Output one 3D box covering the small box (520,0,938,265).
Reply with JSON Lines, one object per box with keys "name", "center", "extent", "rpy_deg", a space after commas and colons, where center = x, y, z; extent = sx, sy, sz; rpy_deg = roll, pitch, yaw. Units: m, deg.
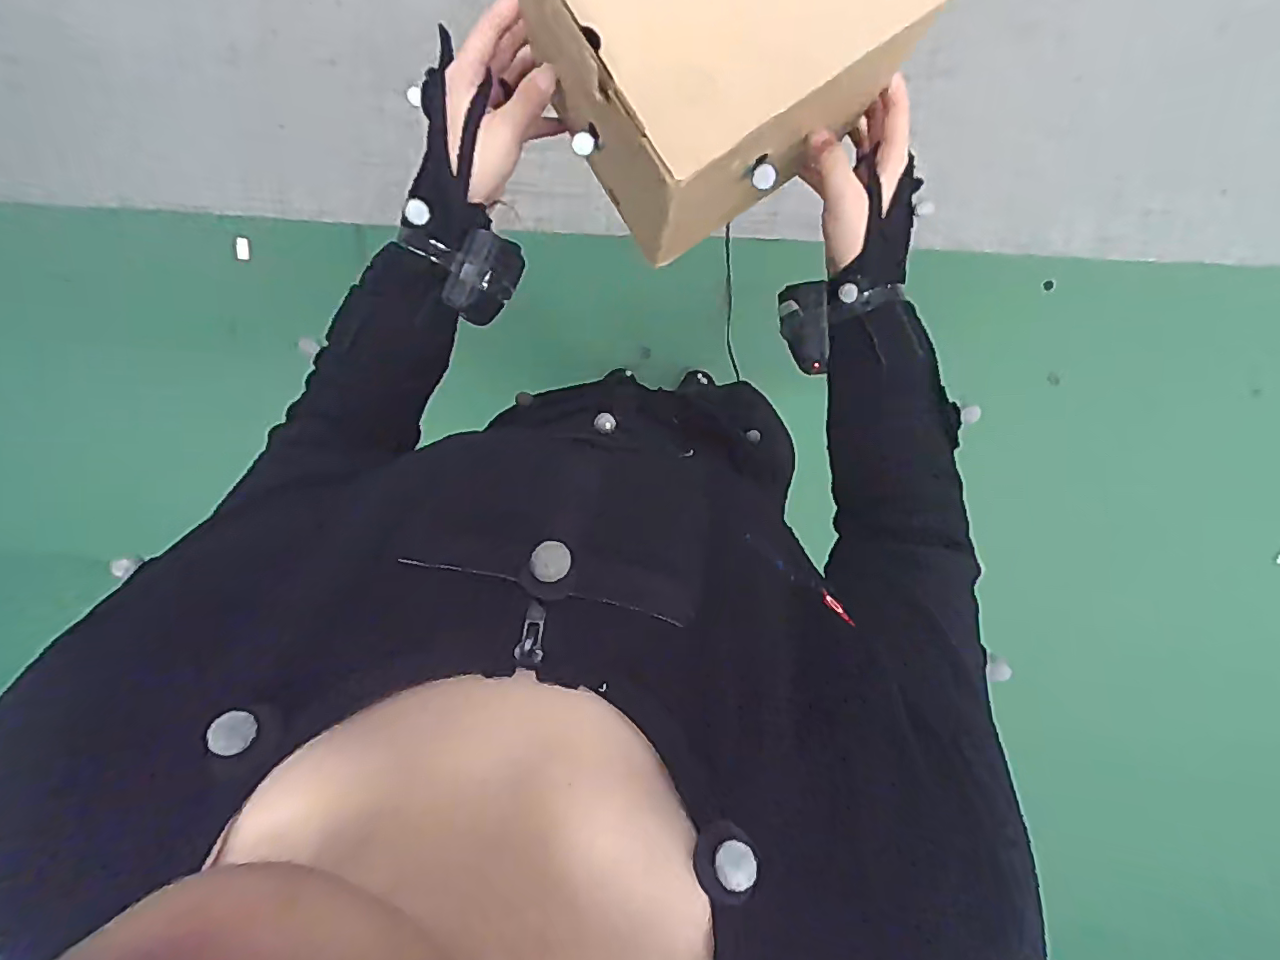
{"name": "small box", "center": [0.040, -0.273, 0.356], "extent": [0.179, 0.176, 0.168], "rpy_deg": [-33, 97, 3]}
